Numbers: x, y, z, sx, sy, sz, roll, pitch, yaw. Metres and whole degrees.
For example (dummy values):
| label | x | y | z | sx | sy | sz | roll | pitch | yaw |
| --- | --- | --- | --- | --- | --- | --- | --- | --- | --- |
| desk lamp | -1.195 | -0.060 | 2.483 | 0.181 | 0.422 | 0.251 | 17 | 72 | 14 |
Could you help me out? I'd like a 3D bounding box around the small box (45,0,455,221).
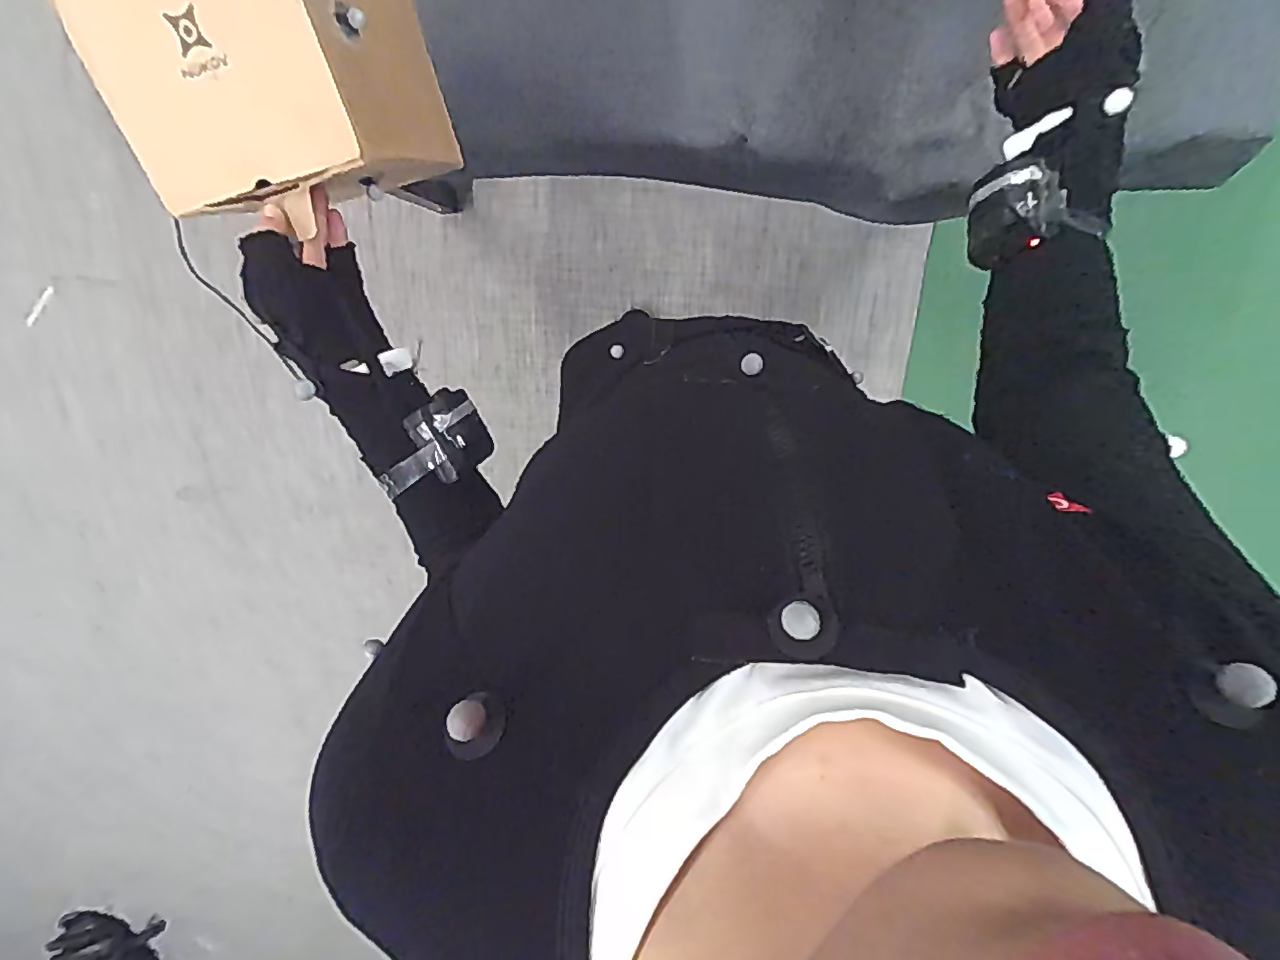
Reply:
| label | x | y | z | sx | sy | sz | roll | pitch | yaw |
| --- | --- | --- | --- | --- | --- | --- | --- | --- | --- |
| small box | -0.267 | -0.311 | 0.403 | 0.168 | 0.176 | 0.179 | -9 | 117 | 12 |
